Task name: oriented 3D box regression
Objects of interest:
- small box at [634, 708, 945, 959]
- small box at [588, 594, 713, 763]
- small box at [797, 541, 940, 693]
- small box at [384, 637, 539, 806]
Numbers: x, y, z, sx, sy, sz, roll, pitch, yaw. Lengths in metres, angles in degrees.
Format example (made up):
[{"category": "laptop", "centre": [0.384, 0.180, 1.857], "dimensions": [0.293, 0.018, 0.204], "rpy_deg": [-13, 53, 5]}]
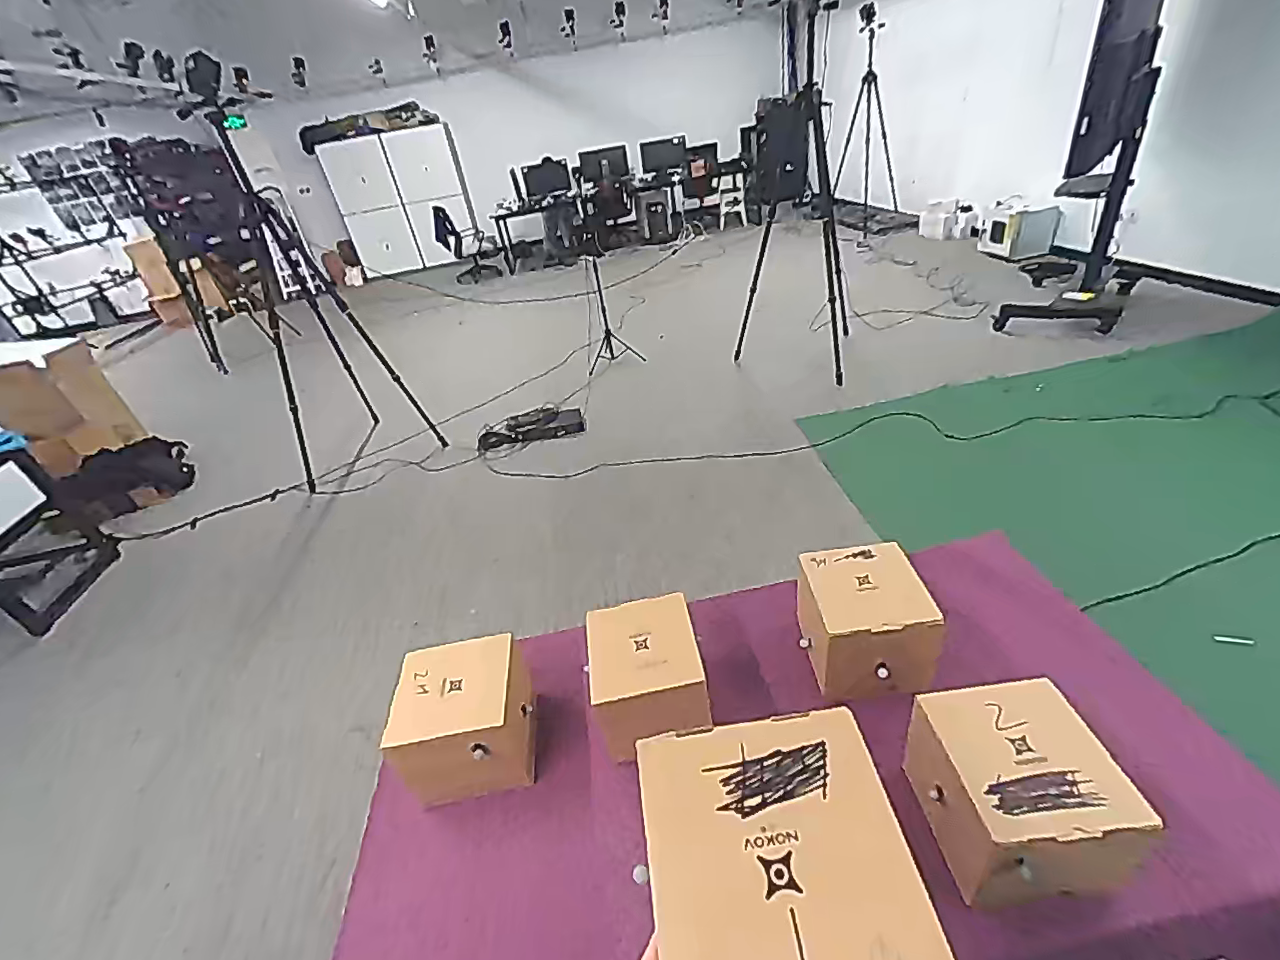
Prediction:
[{"category": "small box", "centre": [0.092, 0.299, 0.396], "dimensions": [0.168, 0.176, 0.179], "rpy_deg": [-10, 42, 0]}, {"category": "small box", "centre": [0.015, 0.316, 0.868], "dimensions": [0.168, 0.176, 0.179], "rpy_deg": [-12, 34, 0]}, {"category": "small box", "centre": [0.362, 0.229, 0.887], "dimensions": [0.168, 0.176, 0.179], "rpy_deg": [-9, 34, 5]}, {"category": "small box", "centre": [-0.265, 0.380, 0.855], "dimensions": [0.179, 0.176, 0.168], "rpy_deg": [-12, 33, 0]}]
